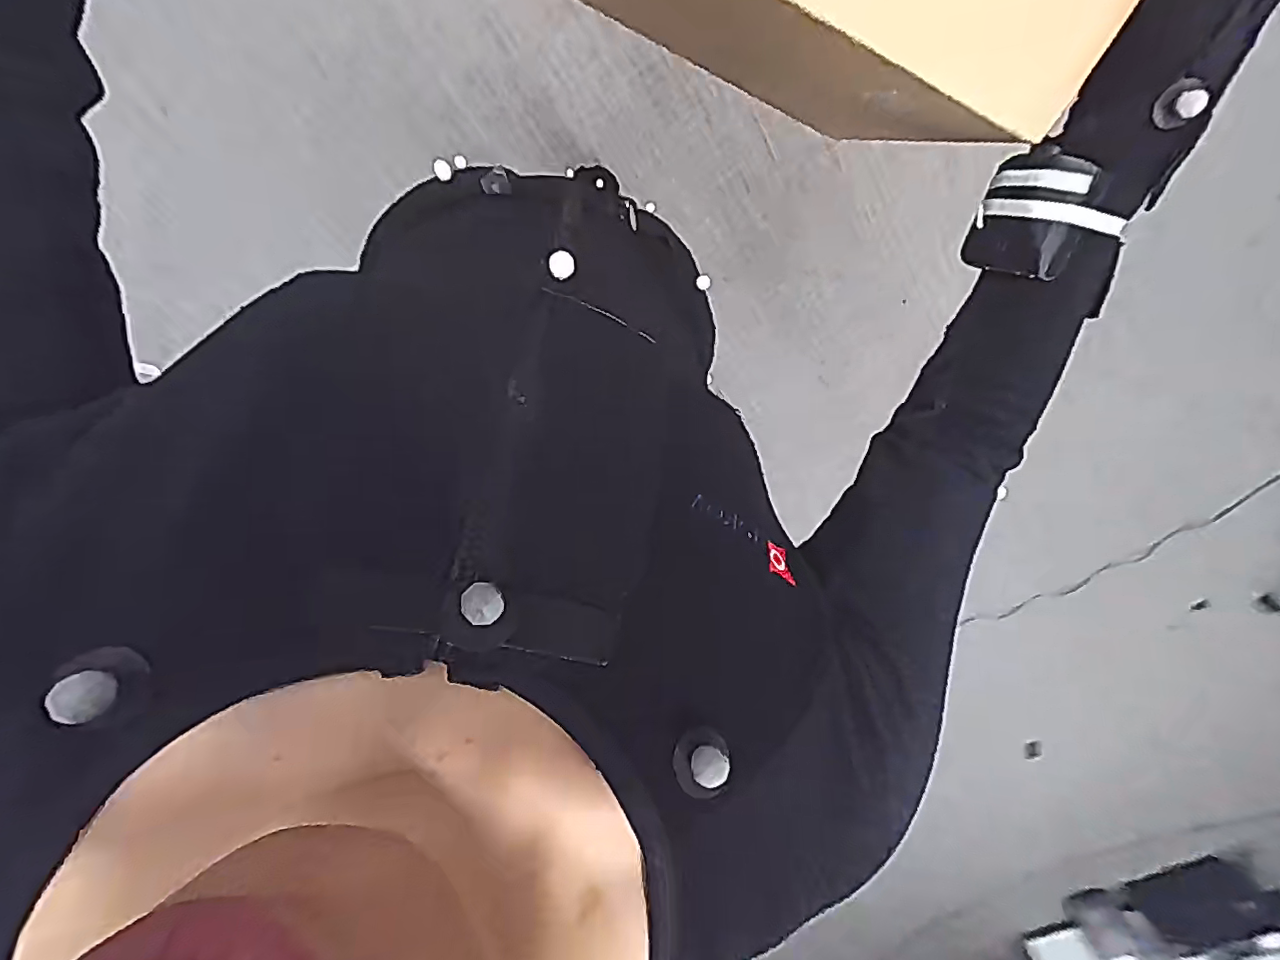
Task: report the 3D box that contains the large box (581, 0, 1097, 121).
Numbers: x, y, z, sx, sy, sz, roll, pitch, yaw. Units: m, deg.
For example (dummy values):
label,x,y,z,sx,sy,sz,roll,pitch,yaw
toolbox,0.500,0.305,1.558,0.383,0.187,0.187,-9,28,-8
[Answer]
label,x,y,z,sx,sy,sz,roll,pitch,yaw
large box,0.084,-0.467,0.323,0.408,0.320,0.320,16,121,-14
